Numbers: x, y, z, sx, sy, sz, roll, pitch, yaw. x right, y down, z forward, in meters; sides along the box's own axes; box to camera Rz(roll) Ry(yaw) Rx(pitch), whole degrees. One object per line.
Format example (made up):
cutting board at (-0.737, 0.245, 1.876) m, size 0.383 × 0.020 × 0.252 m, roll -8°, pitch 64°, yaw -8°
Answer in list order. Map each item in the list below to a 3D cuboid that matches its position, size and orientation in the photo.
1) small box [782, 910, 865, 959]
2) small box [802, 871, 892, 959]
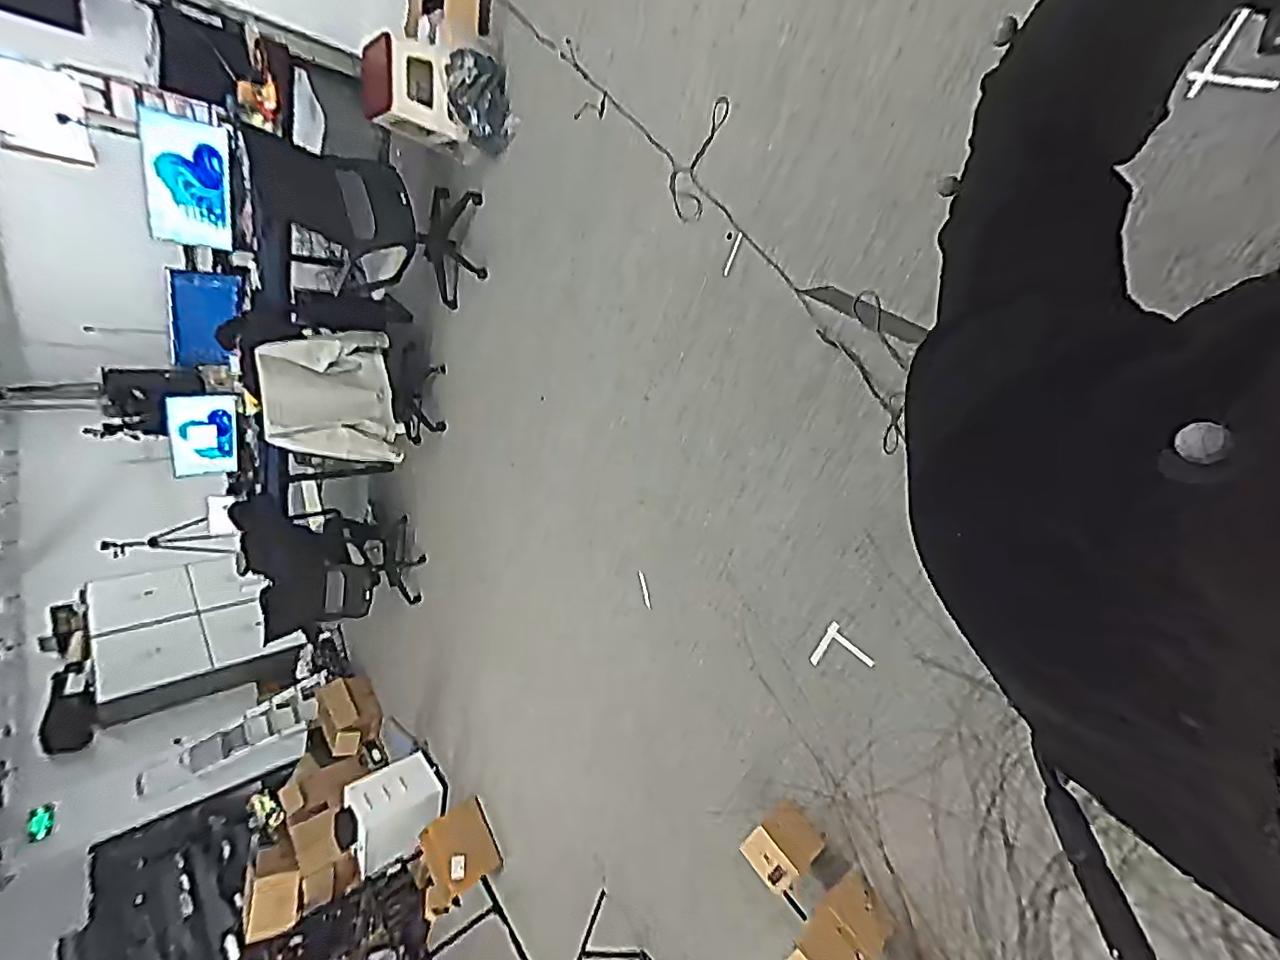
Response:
small box at (0.526, 1.401, 1.557) m, size 0.168 × 0.176 × 0.179 m, roll 40°, pitch 124°, yaw 33°
small box at (0.642, 1.369, 1.670) m, size 0.168 × 0.176 × 0.179 m, roll 43°, pitch 125°, yaw 31°
